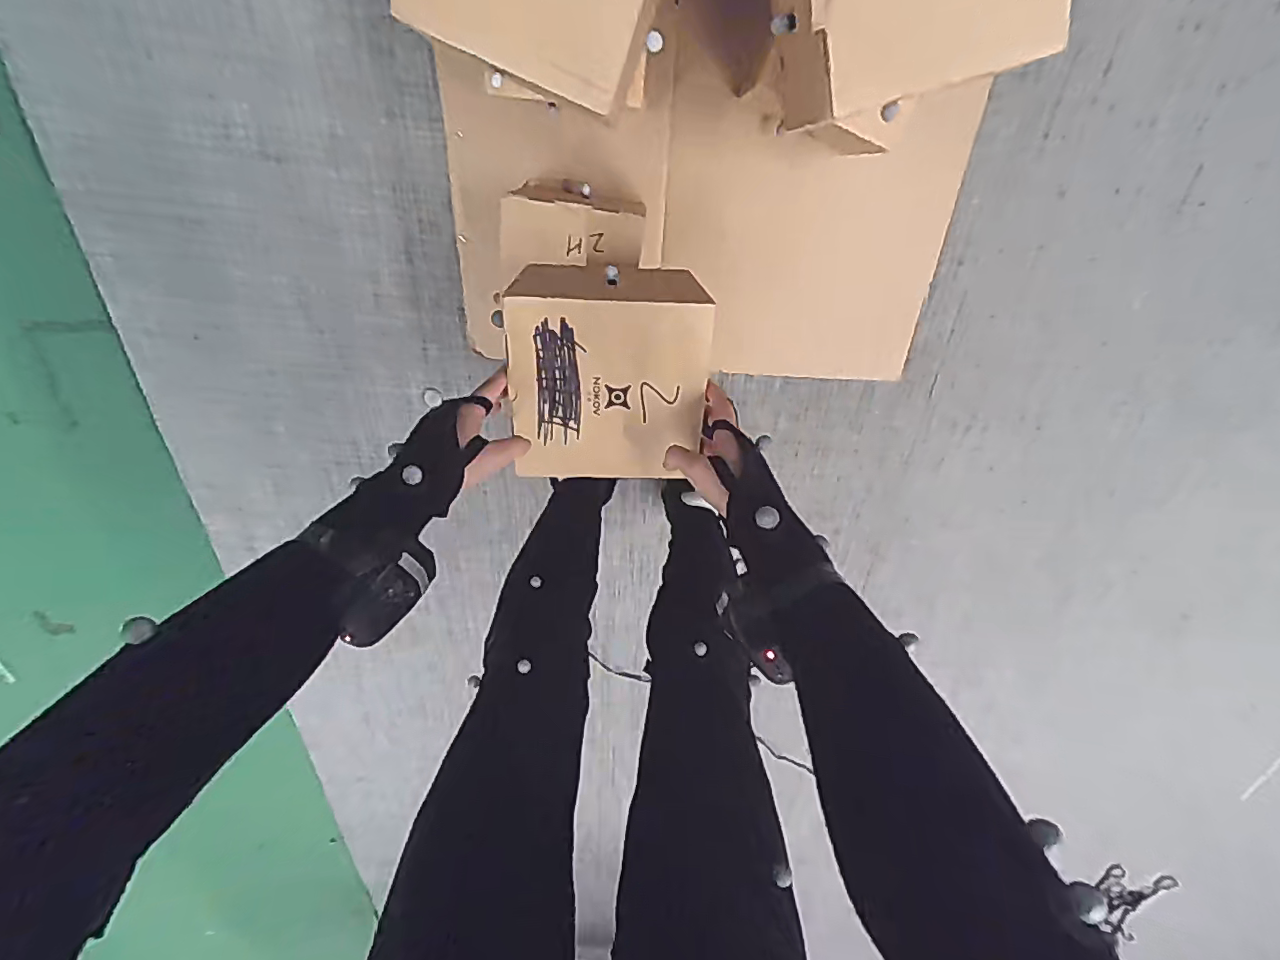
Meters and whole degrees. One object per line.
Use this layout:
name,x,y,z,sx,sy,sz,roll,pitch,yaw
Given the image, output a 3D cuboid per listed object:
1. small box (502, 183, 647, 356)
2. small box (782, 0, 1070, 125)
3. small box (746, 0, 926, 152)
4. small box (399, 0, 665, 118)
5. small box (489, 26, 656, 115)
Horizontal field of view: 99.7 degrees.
small box,-0.082,-0.286,0.724,0.168,0.176,0.179,8,120,-4
small box,0.218,-0.415,0.448,0.179,0.176,0.168,-11,119,9
small box,0.231,-0.489,0.594,0.168,0.176,0.179,20,119,-10
small box,-0.070,-0.429,0.451,0.179,0.176,0.168,19,118,-10
small box,-0.066,-0.514,0.591,0.168,0.176,0.179,4,120,-1
